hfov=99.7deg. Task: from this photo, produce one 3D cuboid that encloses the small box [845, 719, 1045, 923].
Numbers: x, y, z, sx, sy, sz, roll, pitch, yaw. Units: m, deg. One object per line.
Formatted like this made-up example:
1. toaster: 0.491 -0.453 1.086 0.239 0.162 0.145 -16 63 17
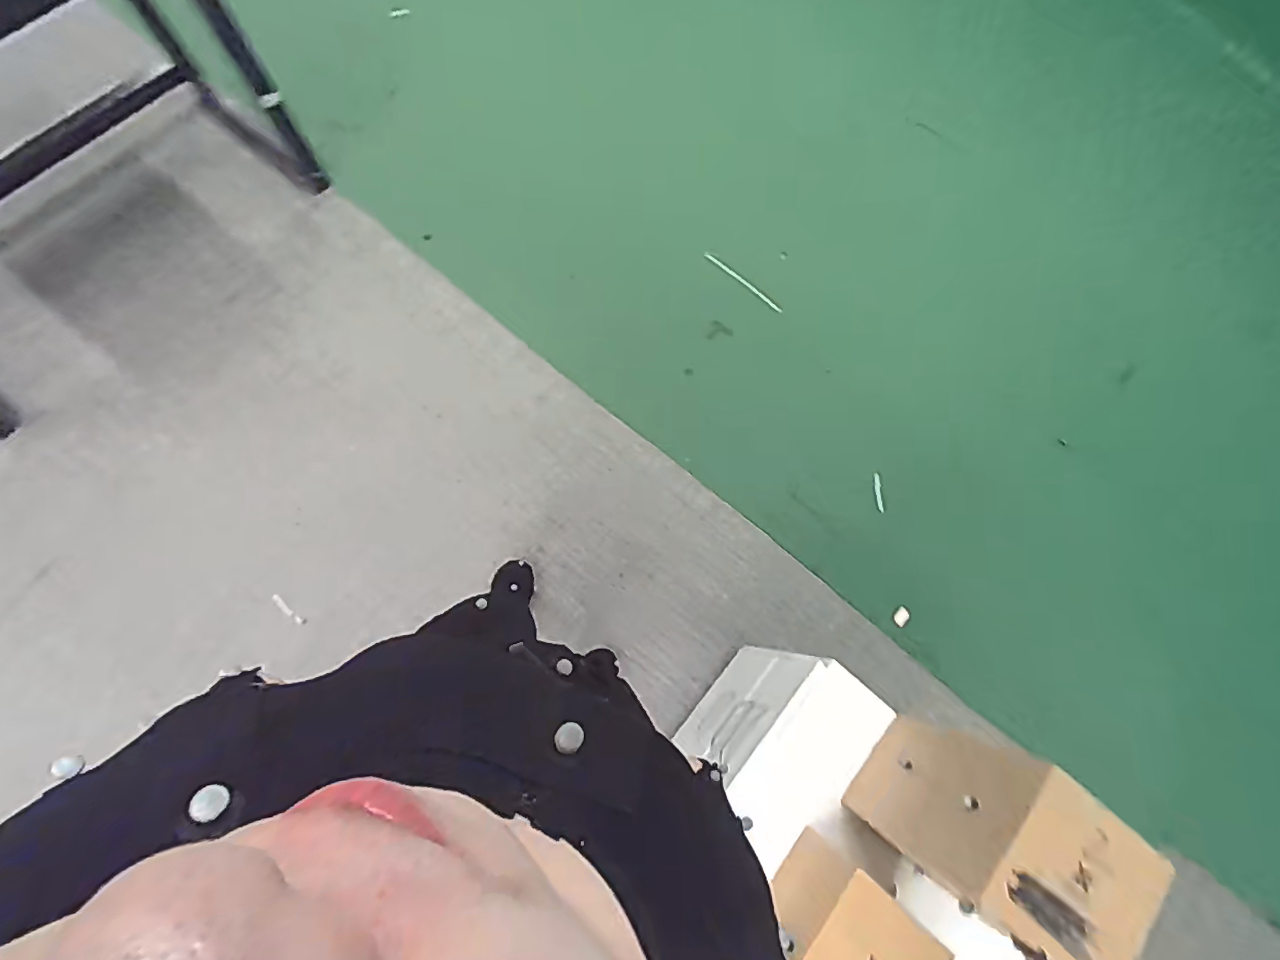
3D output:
1. small box: 0.449 0.497 0.825 0.168 0.176 0.179 41 76 5
